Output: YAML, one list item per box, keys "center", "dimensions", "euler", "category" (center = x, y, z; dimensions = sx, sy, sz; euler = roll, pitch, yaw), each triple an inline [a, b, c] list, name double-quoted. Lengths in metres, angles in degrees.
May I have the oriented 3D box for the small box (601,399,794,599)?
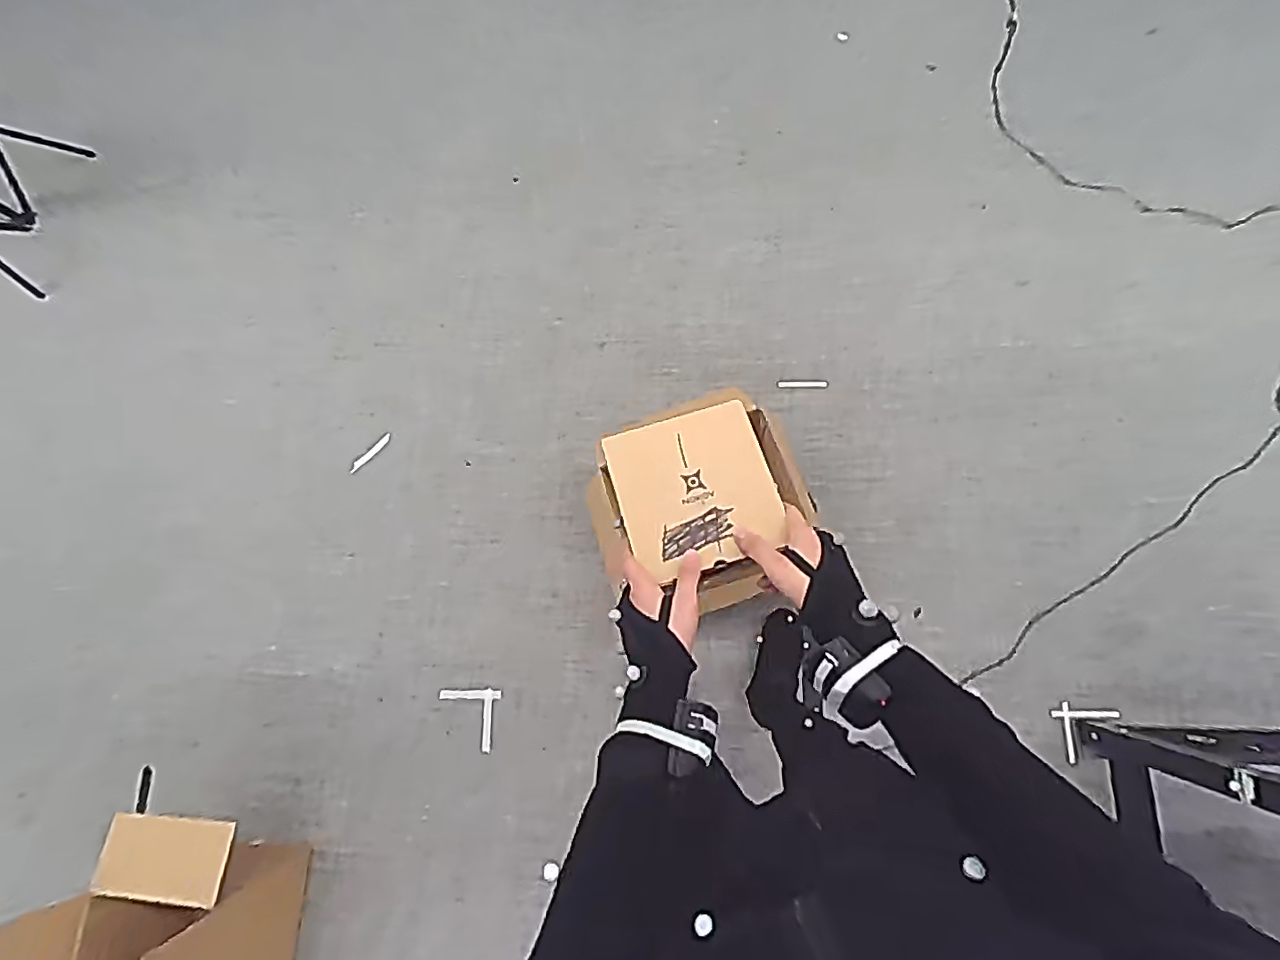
- center: [0.063, 0.036, 0.644]
  dimensions: [0.168, 0.176, 0.179]
  euler: [-17, 70, -2]
  category: "small box"
